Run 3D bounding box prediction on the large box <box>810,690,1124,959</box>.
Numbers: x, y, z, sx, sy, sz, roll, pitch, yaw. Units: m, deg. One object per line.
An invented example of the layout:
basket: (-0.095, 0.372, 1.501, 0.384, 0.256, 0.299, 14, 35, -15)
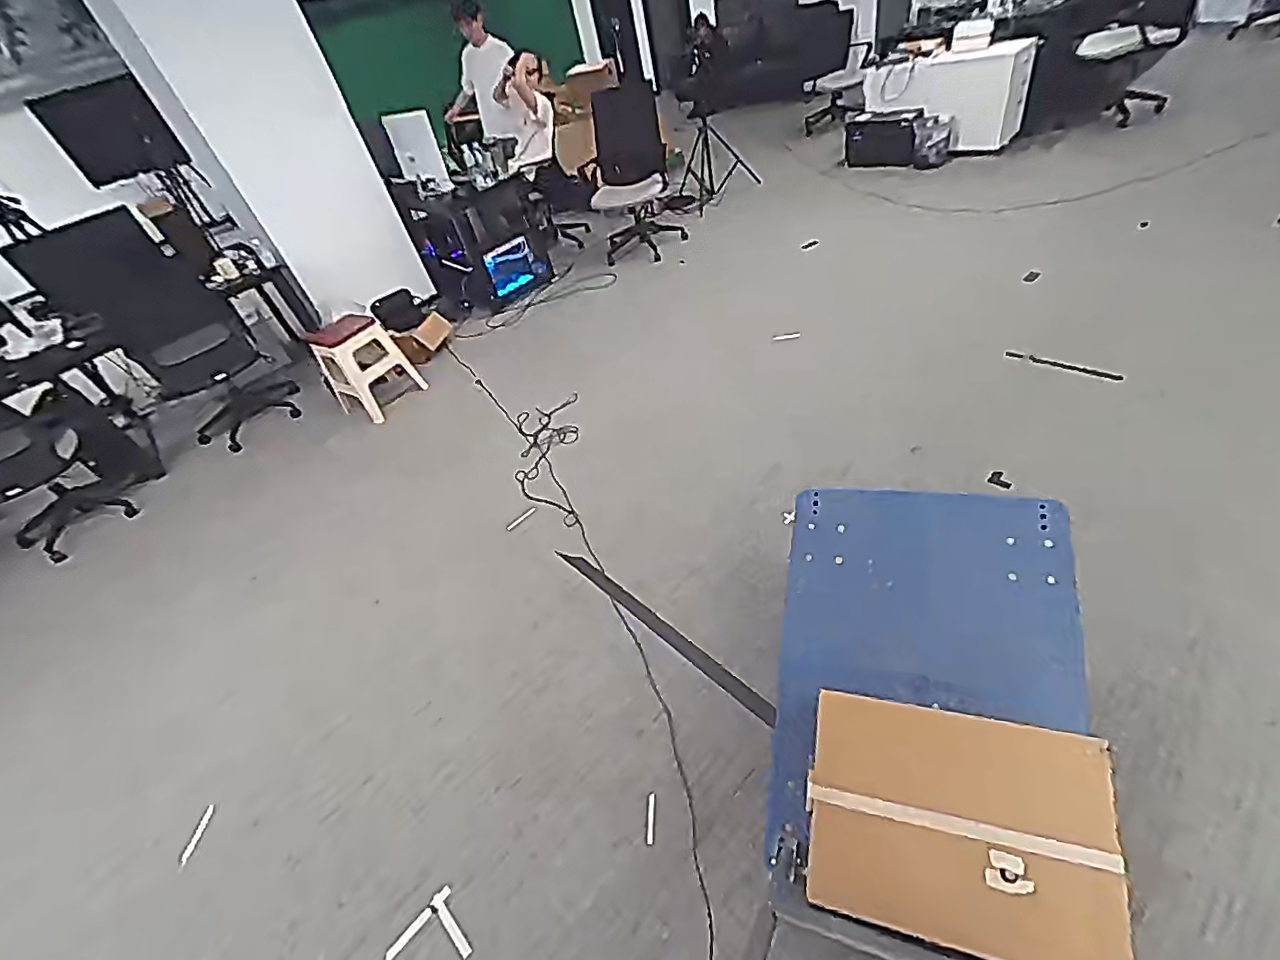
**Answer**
large box: (0.520, 0.573, 0.955, 0.408, 0.320, 0.320, 3, 69, 21)
